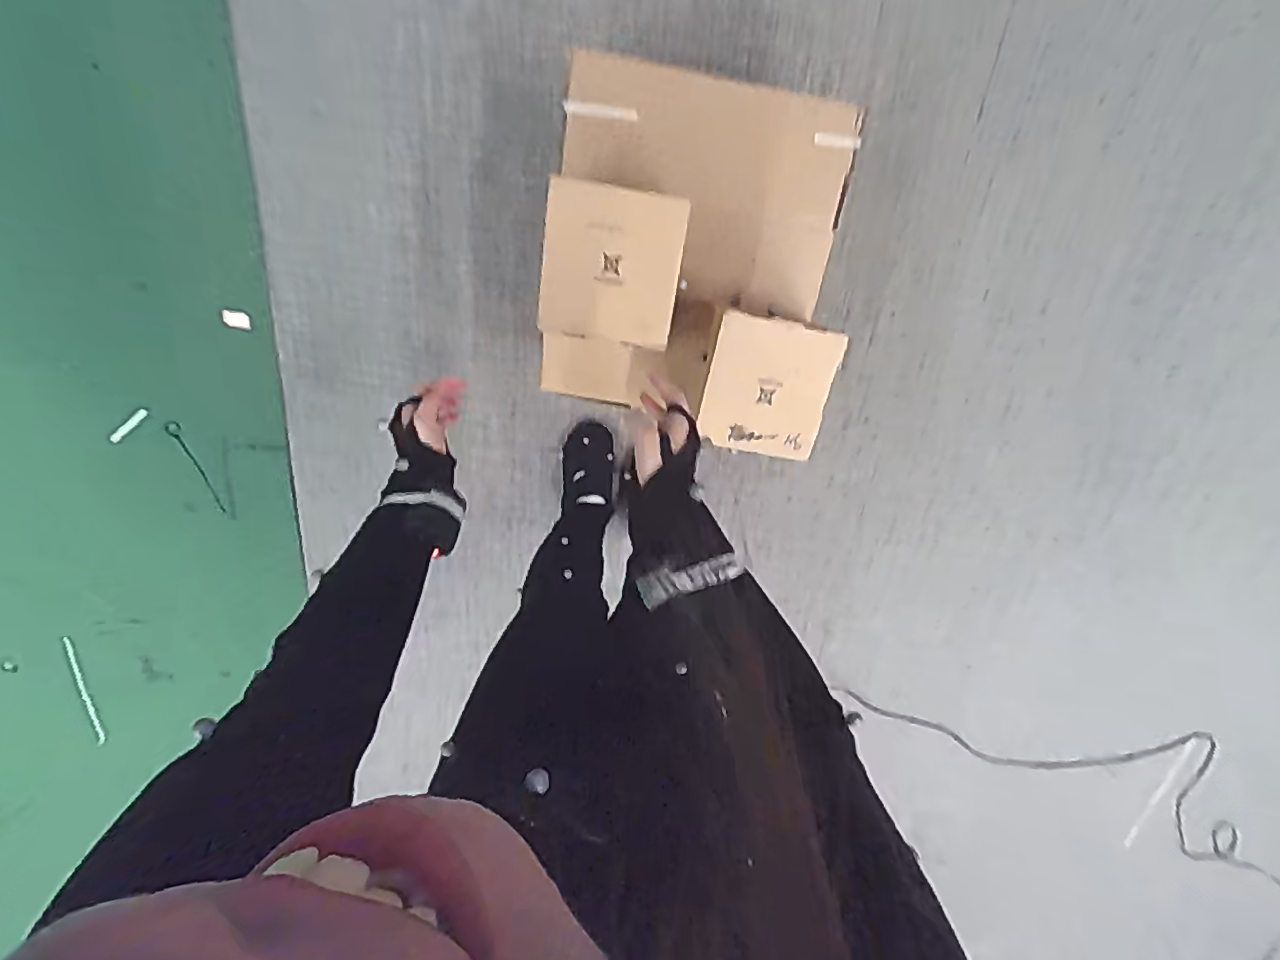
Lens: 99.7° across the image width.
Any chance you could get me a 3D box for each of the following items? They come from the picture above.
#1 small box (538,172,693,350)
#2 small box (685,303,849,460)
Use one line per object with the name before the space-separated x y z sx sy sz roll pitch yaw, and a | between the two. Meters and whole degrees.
small box | -0.032 -0.285 0.723 0.168 0.176 0.179 9 110 -4
small box | 0.166 -0.149 0.775 0.168 0.176 0.179 11 110 -5
